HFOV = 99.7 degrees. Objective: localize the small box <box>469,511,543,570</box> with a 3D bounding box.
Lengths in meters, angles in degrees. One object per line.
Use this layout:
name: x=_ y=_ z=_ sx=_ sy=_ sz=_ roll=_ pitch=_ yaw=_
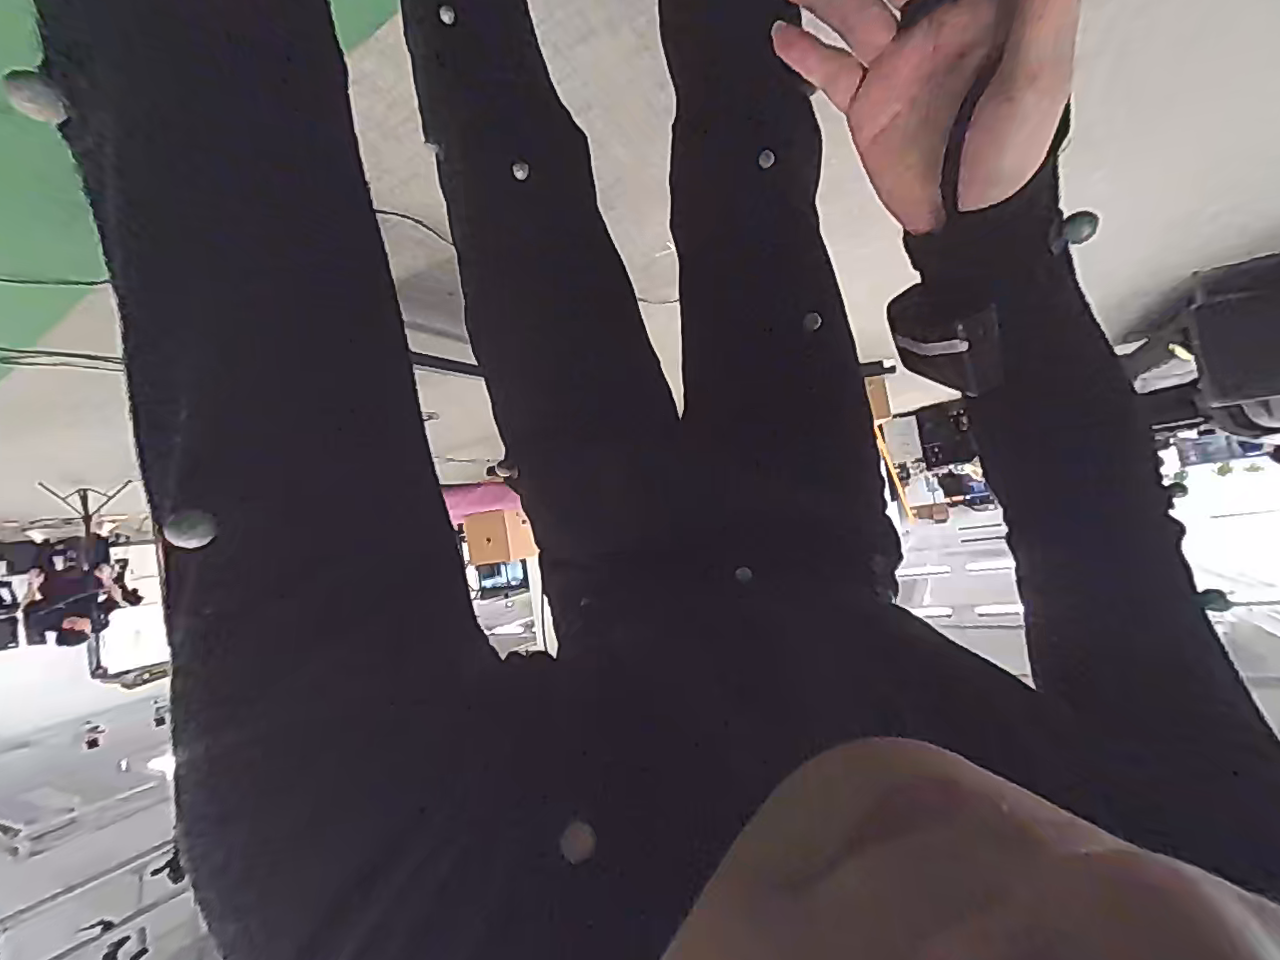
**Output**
small box: x=-0.445 y=0.196 z=1.786 sx=0.179 sy=0.176 sz=0.168 roll=-12 pitch=175 yaw=27
